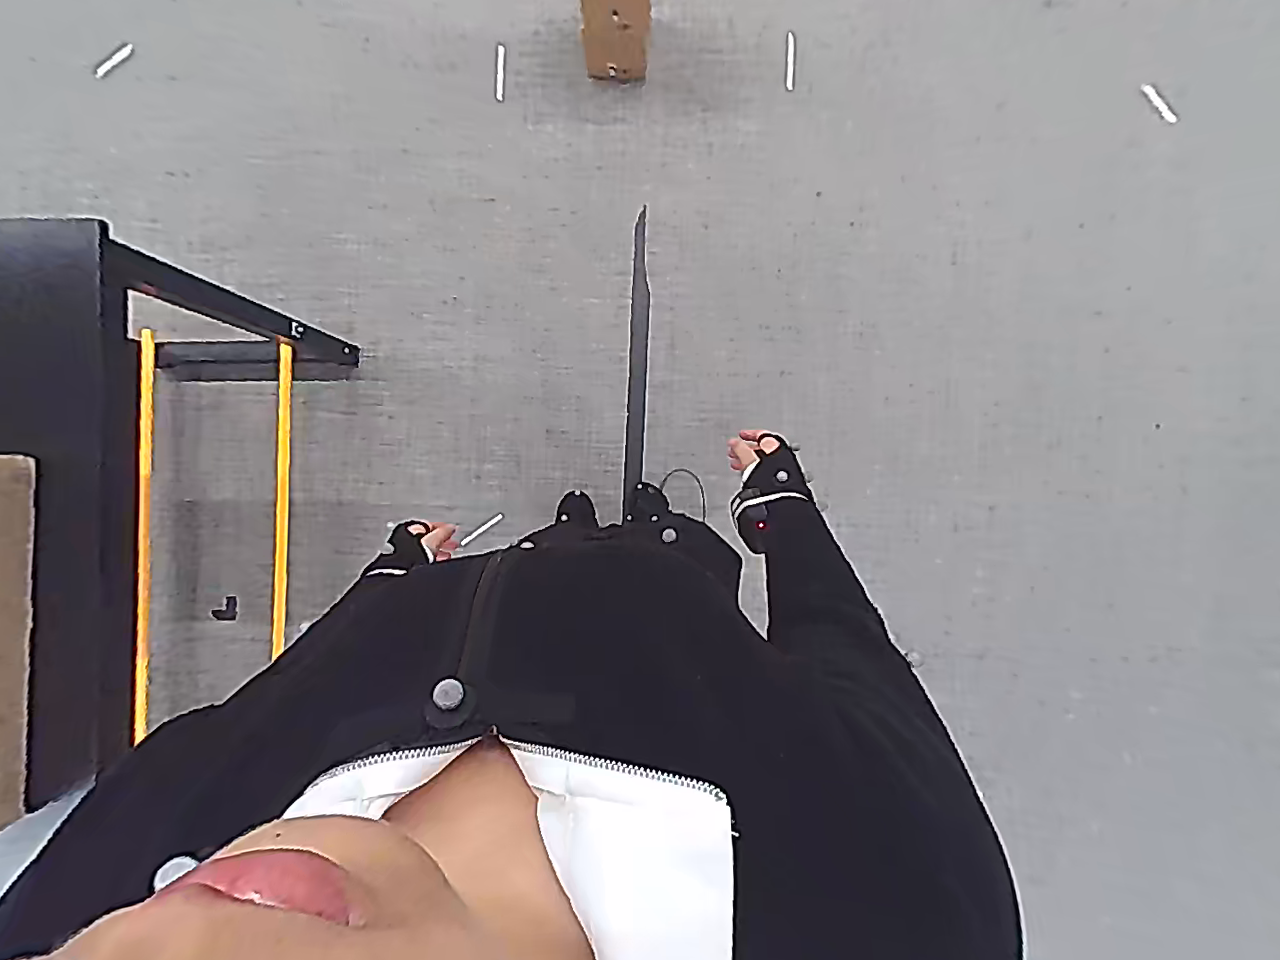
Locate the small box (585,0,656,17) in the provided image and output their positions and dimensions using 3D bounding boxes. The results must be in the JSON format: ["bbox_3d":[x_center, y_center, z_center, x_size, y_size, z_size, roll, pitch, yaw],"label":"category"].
[{"bbox_3d":[-0.044,-1.154,1.161,0.168,0.176,0.179,2,91,1],"label":"small box"}]

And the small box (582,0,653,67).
[{"bbox_3d":[-0.051,-1.164,1.326,0.168,0.176,0.179,1,92,1],"label":"small box"}]
